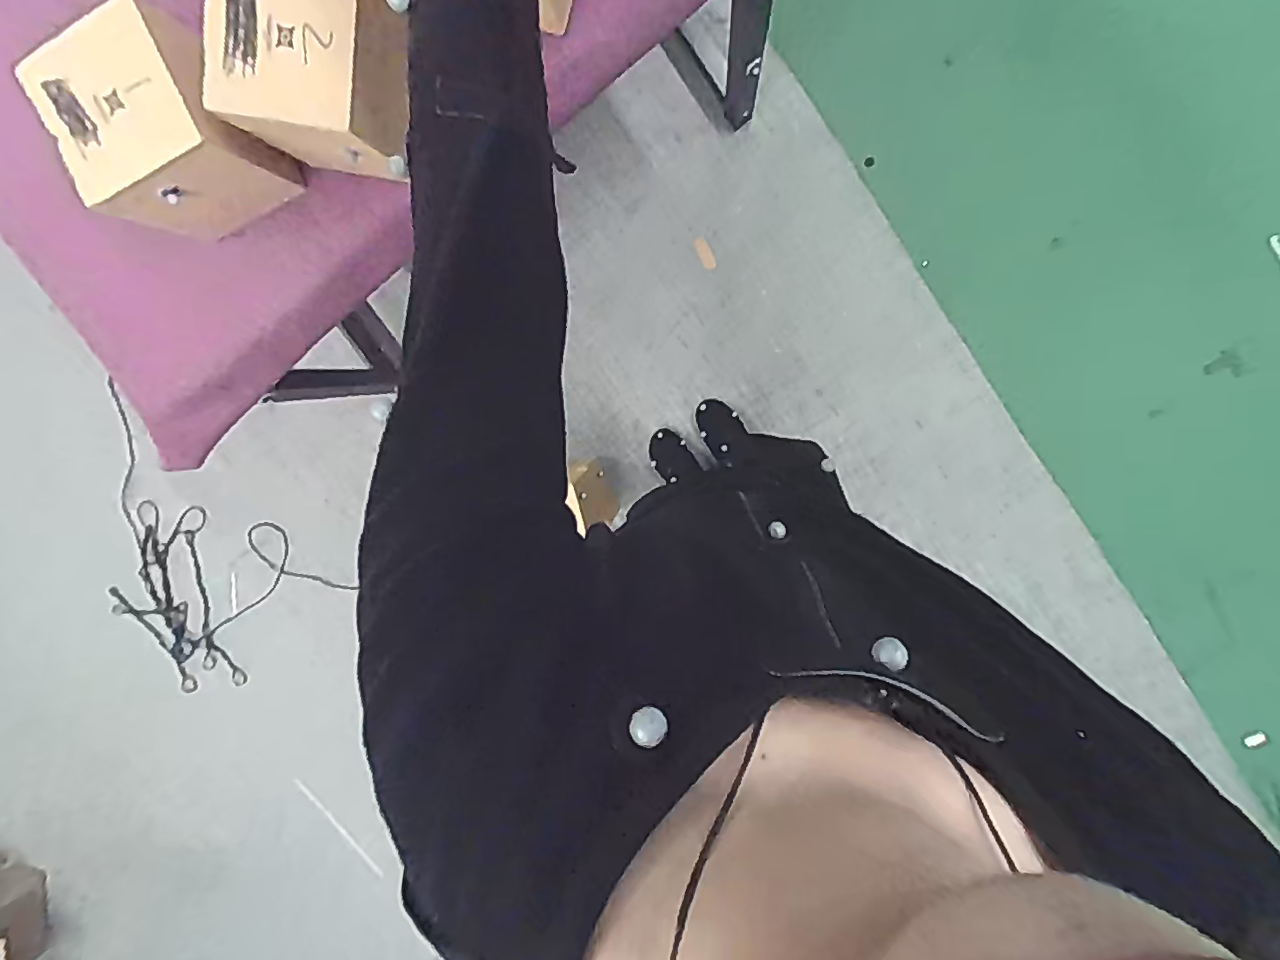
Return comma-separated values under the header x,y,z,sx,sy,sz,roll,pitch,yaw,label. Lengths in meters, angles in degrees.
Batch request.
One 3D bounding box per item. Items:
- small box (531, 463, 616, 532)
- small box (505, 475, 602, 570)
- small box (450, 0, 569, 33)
x,y,z,sx,sy,sz,roll,pitch,yaw,label
-0.178,0.061,1.478,0.168,0.176,0.179,-19,99,10,small box
-0.202,0.098,1.322,0.168,0.176,0.179,-13,98,10,small box
-0.162,-0.644,0.591,0.168,0.176,0.179,17,102,4,small box
